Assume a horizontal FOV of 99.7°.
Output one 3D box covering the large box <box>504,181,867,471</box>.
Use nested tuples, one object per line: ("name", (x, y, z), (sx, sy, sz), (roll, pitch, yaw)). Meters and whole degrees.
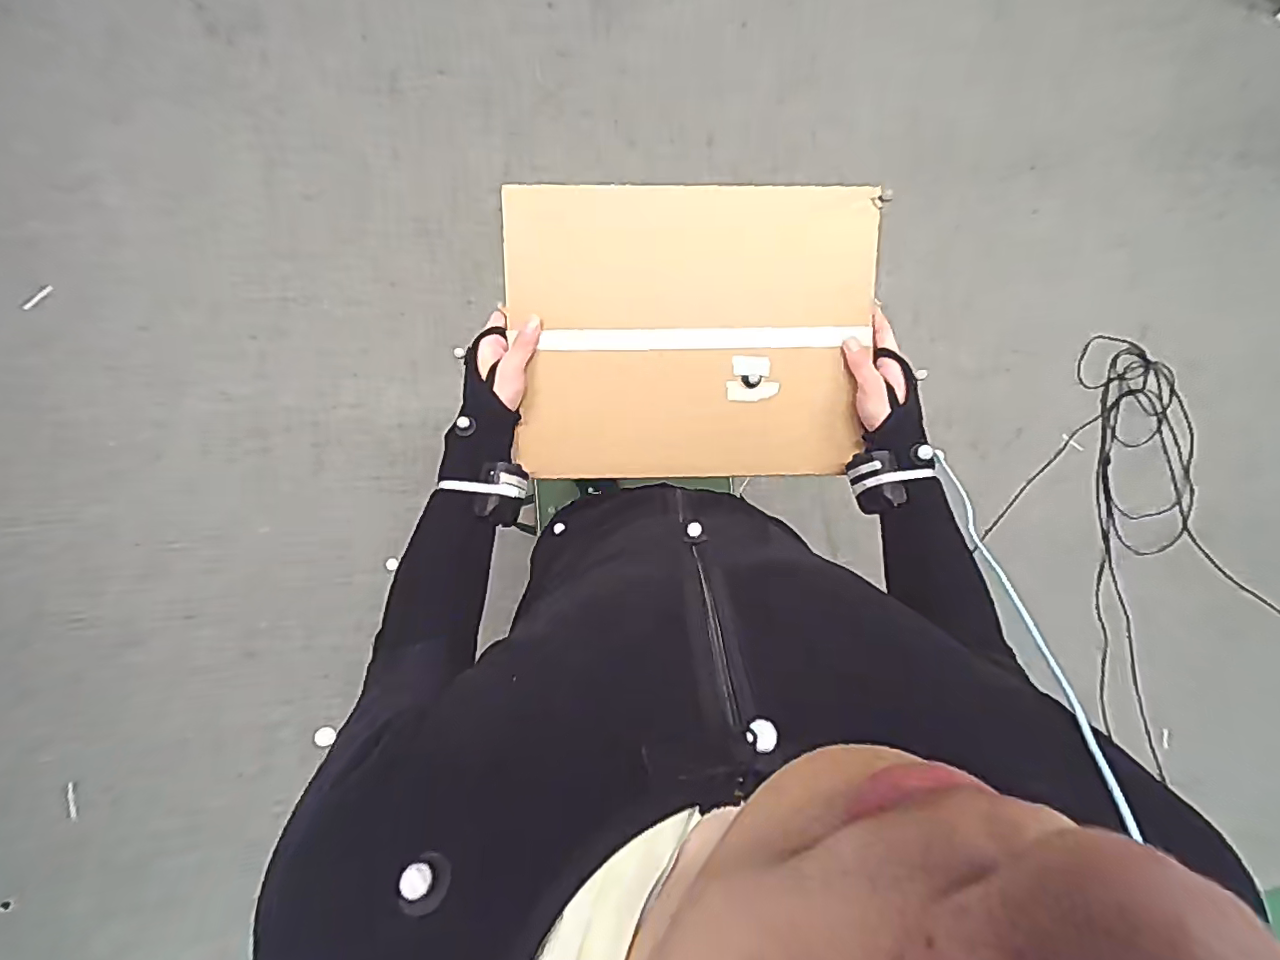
("large box", (0.047, -0.193, 0.754), (0.408, 0.320, 0.320), (-1, 100, -3))
